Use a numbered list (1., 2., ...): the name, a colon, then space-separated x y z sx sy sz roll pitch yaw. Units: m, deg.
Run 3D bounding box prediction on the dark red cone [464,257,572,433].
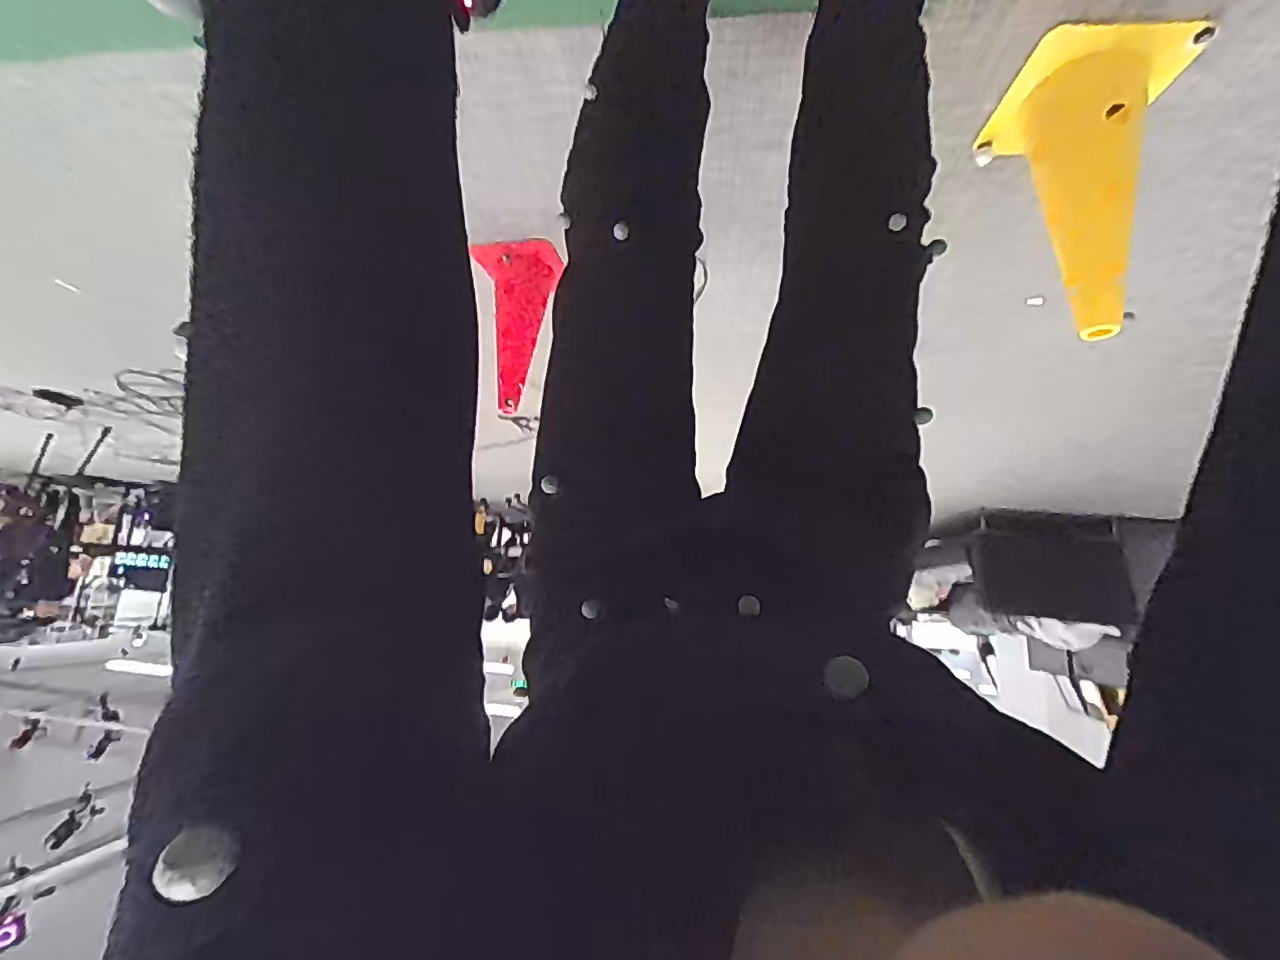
1. dark red cone: -0.292 -0.295 1.214 0.202 0.394 0.201 1 165 16
